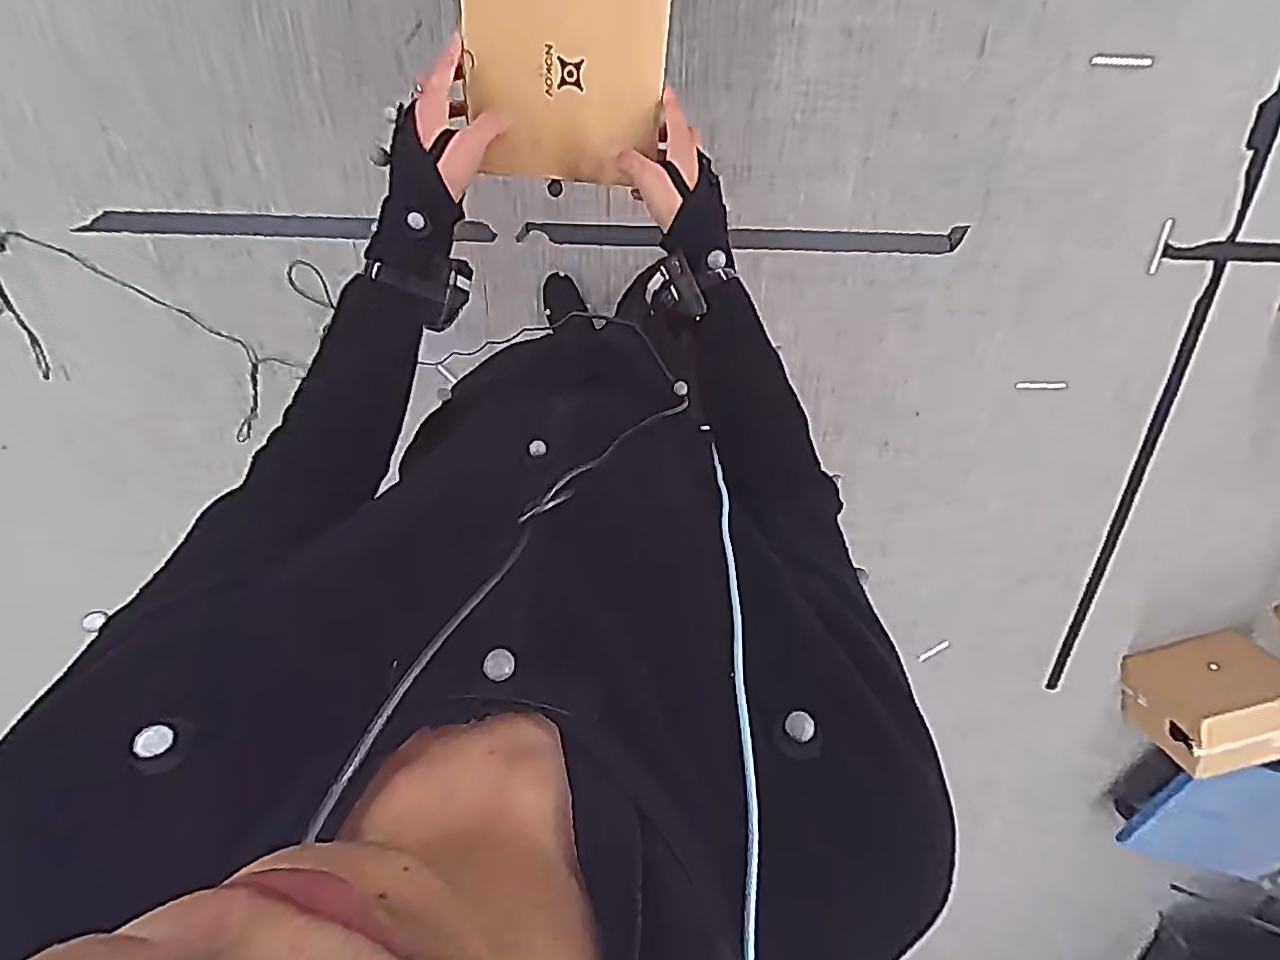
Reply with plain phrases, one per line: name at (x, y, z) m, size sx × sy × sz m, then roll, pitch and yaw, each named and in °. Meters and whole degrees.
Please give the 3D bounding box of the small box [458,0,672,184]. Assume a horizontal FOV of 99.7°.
small box at (-0.073, -0.400, 0.531) m, size 0.179 × 0.176 × 0.168 m, roll 2°, pitch 122°, yaw -8°
